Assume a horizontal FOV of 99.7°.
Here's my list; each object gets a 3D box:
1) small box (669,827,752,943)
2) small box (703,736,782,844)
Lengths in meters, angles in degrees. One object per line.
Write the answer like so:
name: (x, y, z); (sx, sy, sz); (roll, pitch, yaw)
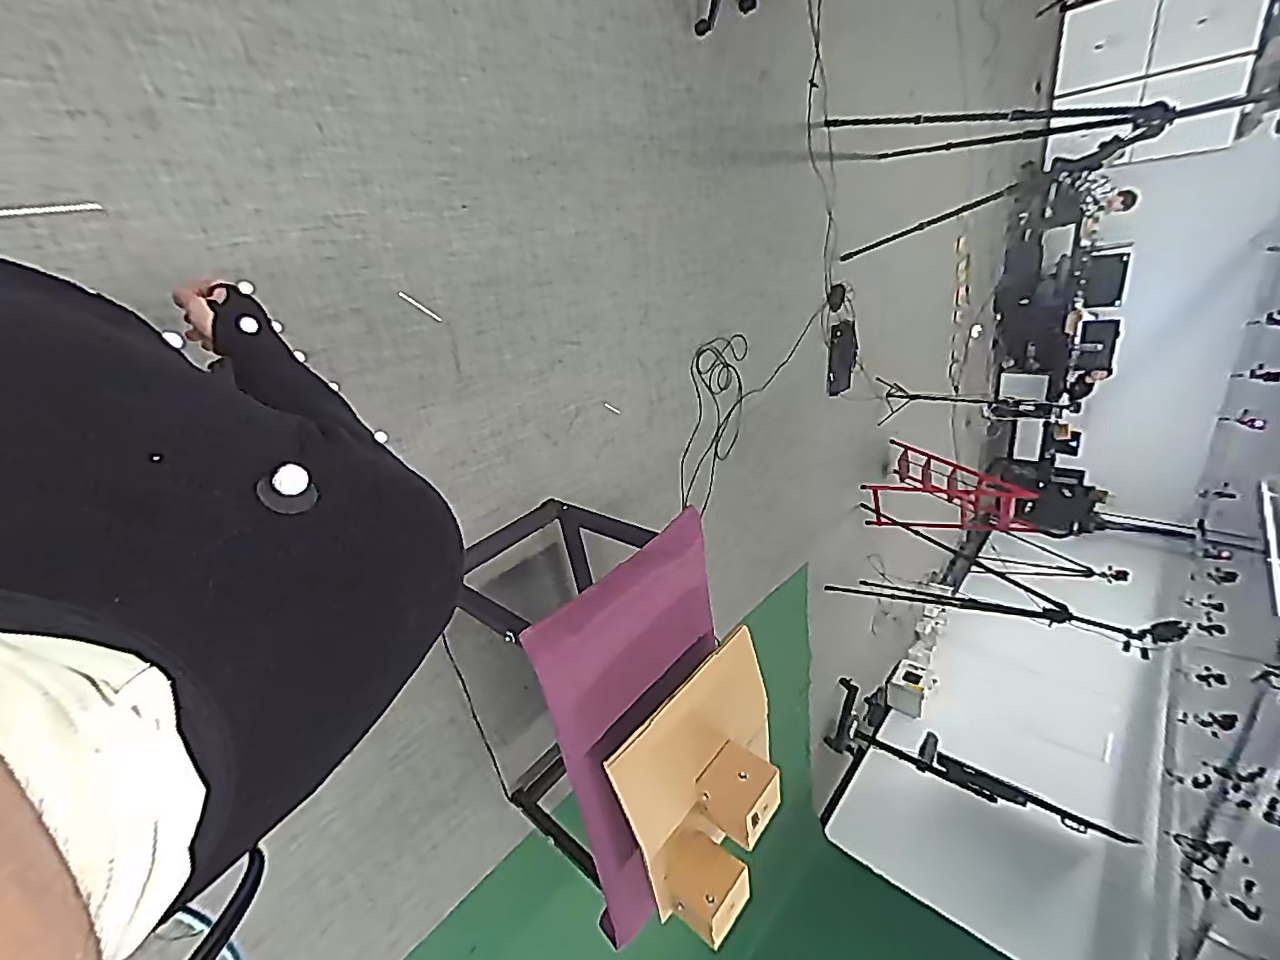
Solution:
small box: (0.205, 1.165, 1.571); (0.179, 0.176, 0.168); (-33, 126, -36)
small box: (0.297, 0.901, 1.583); (0.179, 0.176, 0.168); (-34, 127, -38)
